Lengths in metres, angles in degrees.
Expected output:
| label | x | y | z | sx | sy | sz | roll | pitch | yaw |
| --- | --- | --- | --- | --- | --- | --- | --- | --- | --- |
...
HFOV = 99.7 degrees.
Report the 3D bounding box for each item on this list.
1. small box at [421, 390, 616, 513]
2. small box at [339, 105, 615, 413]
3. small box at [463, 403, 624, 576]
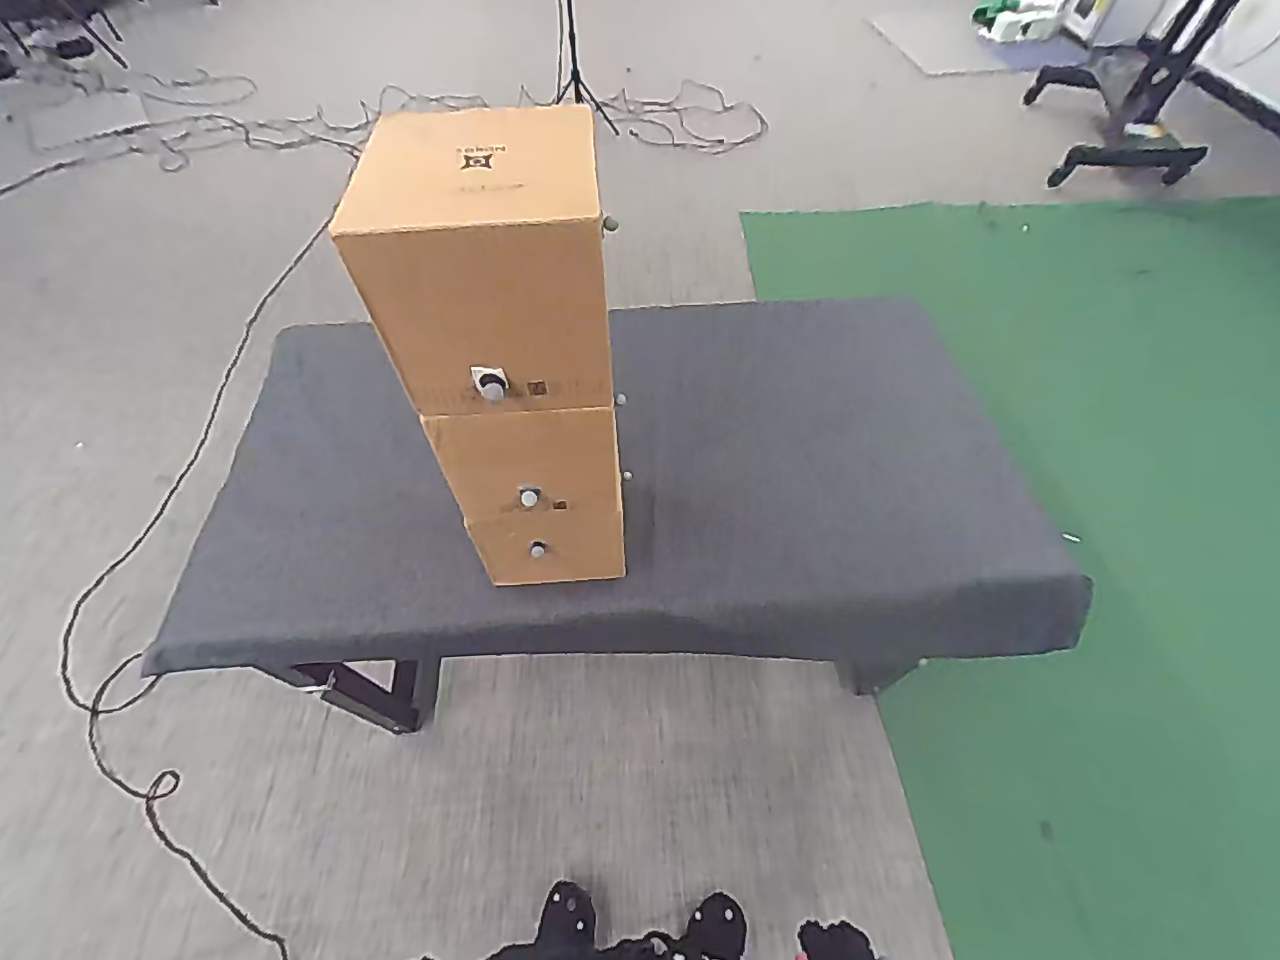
| label | x | y | z | sx | sy | sz | roll | pitch | yaw |
| --- | --- | --- | --- | --- | --- | --- | --- | --- | --- |
| small box | -0.111 | -0.082 | 0.575 | 0.168 | 0.176 | 0.179 | -2 | 55 | -2 |
| small box | -0.109 | -0.177 | 0.444 | 0.168 | 0.176 | 0.179 | -4 | 56 | -2 |
| small box | -0.114 | 0.017 | 0.707 | 0.179 | 0.176 | 0.168 | -3 | 55 | -2 |
